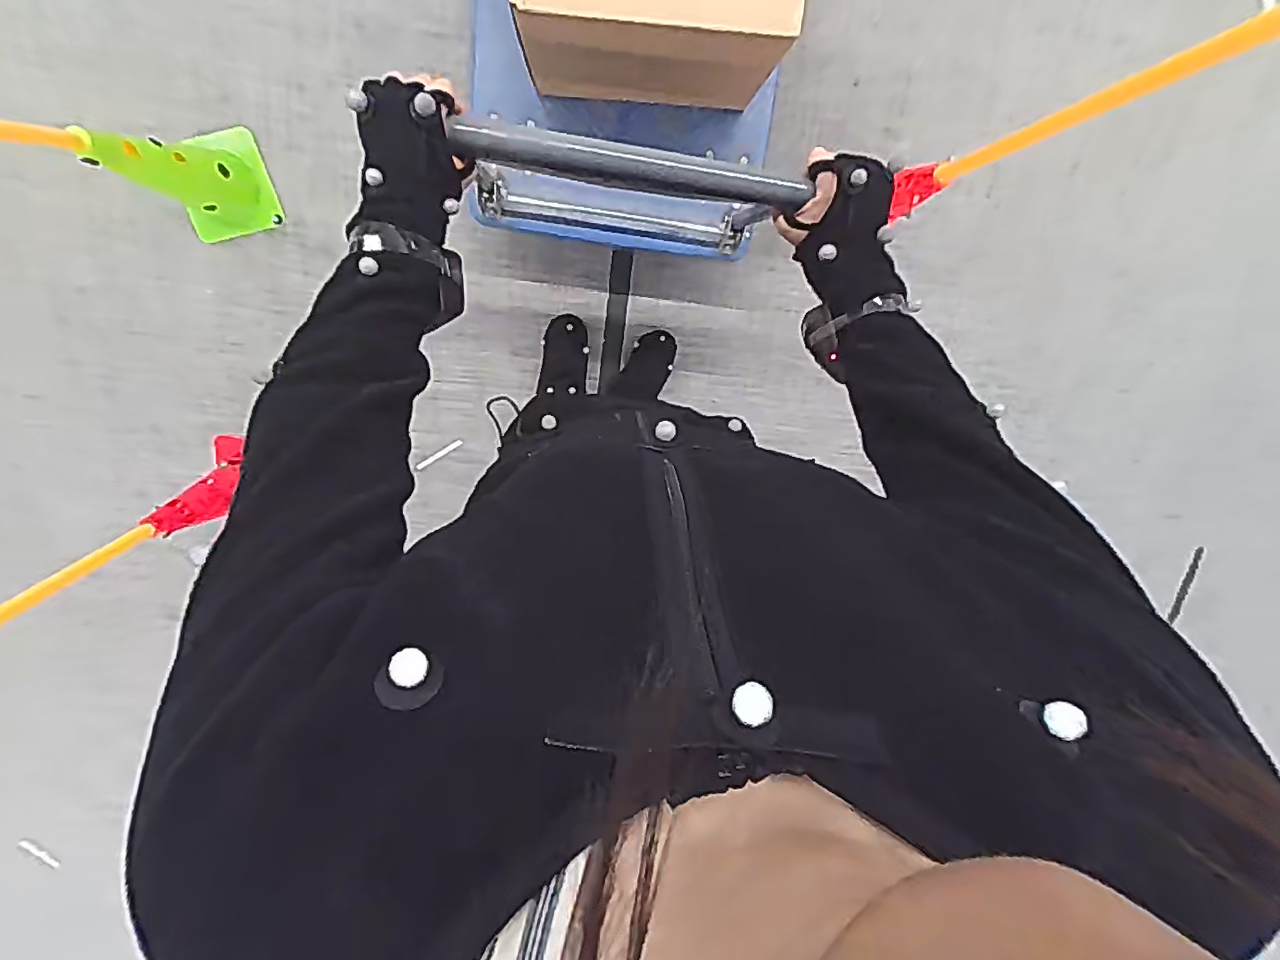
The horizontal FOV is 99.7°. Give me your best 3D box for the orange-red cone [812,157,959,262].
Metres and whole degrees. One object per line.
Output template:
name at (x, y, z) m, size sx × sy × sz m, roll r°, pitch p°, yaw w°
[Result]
orange-red cone at (0.537, -0.587, 1.123) m, size 0.199 × 0.360 × 0.198 m, roll 11°, pitch 107°, yaw -8°
